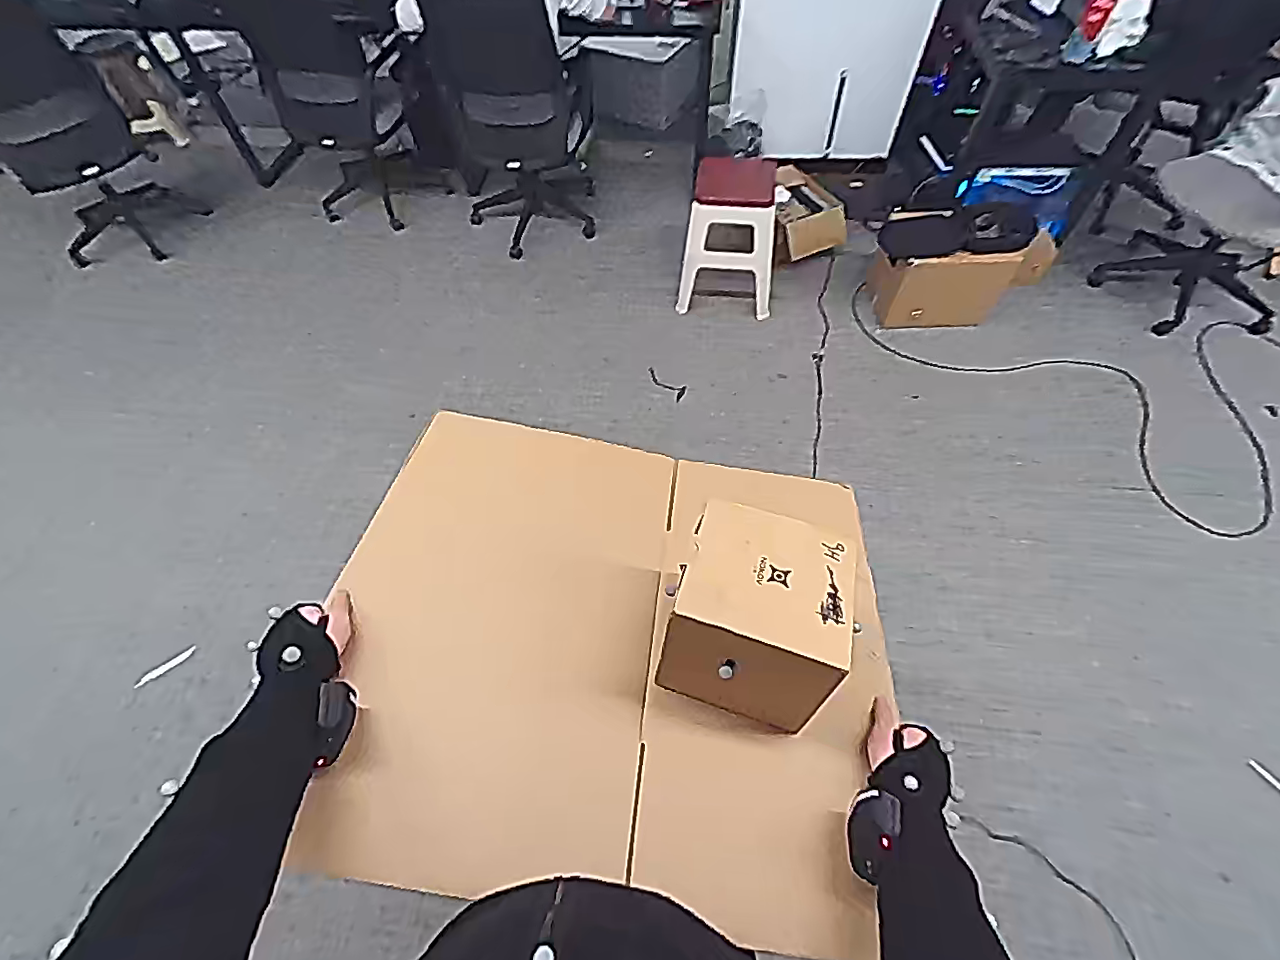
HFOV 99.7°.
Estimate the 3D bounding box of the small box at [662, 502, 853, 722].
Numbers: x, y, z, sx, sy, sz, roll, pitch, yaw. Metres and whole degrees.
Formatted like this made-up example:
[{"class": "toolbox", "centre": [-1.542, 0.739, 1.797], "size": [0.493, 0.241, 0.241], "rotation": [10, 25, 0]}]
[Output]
[{"class": "small box", "centre": [0.131, 0.157, 0.633], "size": [0.179, 0.176, 0.168], "rotation": [15, 47, 10]}]
